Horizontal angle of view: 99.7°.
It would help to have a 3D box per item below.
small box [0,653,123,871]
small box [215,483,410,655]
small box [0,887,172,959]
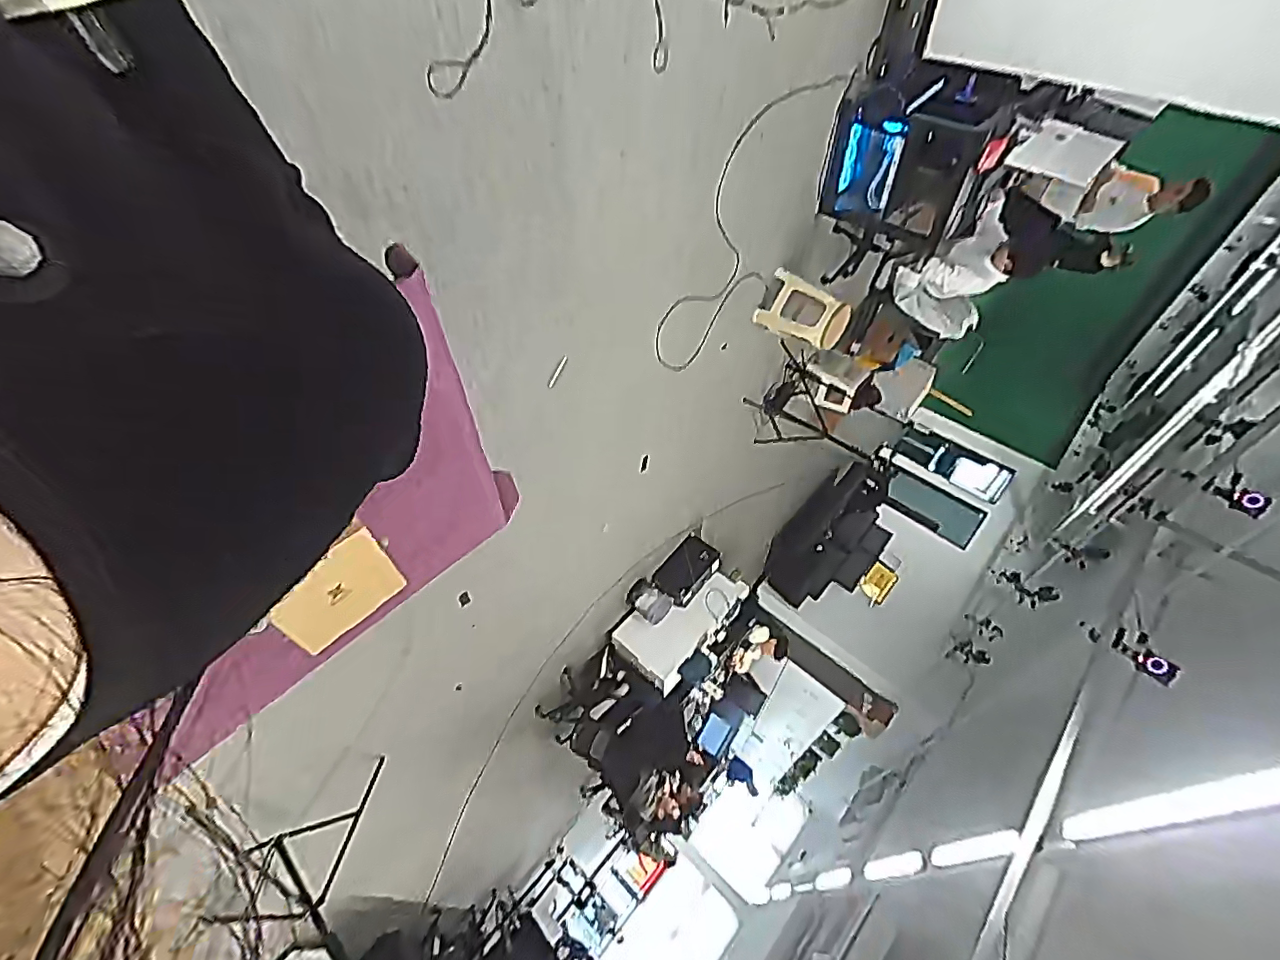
[{"bbox_3d":[-0.773,0.334,0.622,0.179,0.176,0.168,-38,148,-29],"label":"small box"},{"bbox_3d":[-0.499,0.127,0.834,0.168,0.176,0.179,-41,151,-27],"label":"small box"},{"bbox_3d":[-0.538,0.506,0.467,0.179,0.176,0.168,-40,150,-29],"label":"small box"}]
